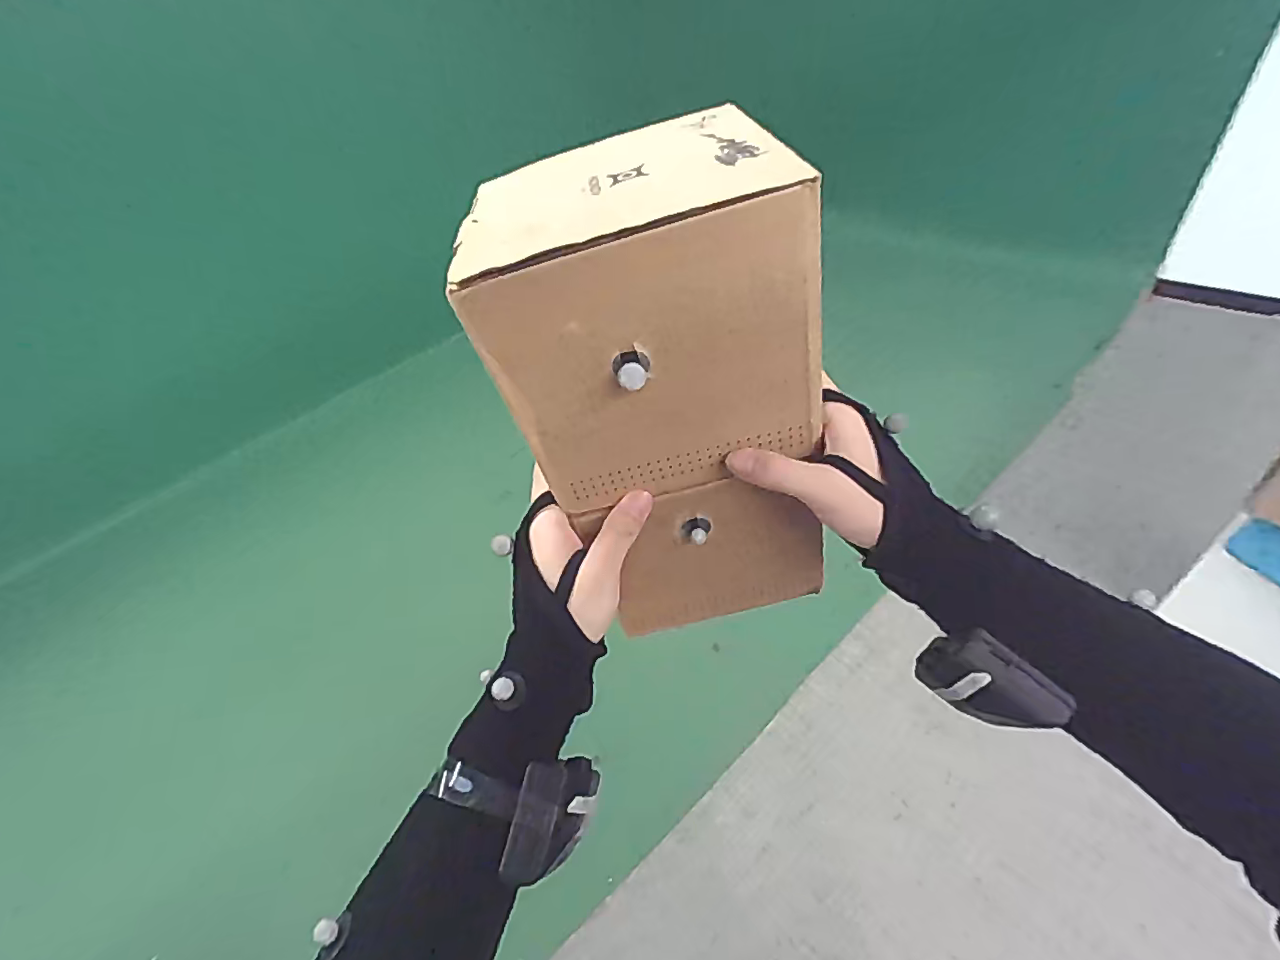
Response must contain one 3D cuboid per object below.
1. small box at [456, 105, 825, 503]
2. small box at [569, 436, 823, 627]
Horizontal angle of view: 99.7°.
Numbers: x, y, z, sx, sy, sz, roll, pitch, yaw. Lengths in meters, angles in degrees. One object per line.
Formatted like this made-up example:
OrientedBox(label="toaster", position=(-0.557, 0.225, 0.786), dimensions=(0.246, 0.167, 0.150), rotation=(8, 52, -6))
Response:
OrientedBox(label="small box", position=(0.009, -0.107, 0.354), dimensions=(0.179, 0.176, 0.168), rotation=(-15, 45, 6))
OrientedBox(label="small box", position=(0.048, 0.005, 0.466), dimensions=(0.179, 0.176, 0.168), rotation=(-13, 44, 5))
